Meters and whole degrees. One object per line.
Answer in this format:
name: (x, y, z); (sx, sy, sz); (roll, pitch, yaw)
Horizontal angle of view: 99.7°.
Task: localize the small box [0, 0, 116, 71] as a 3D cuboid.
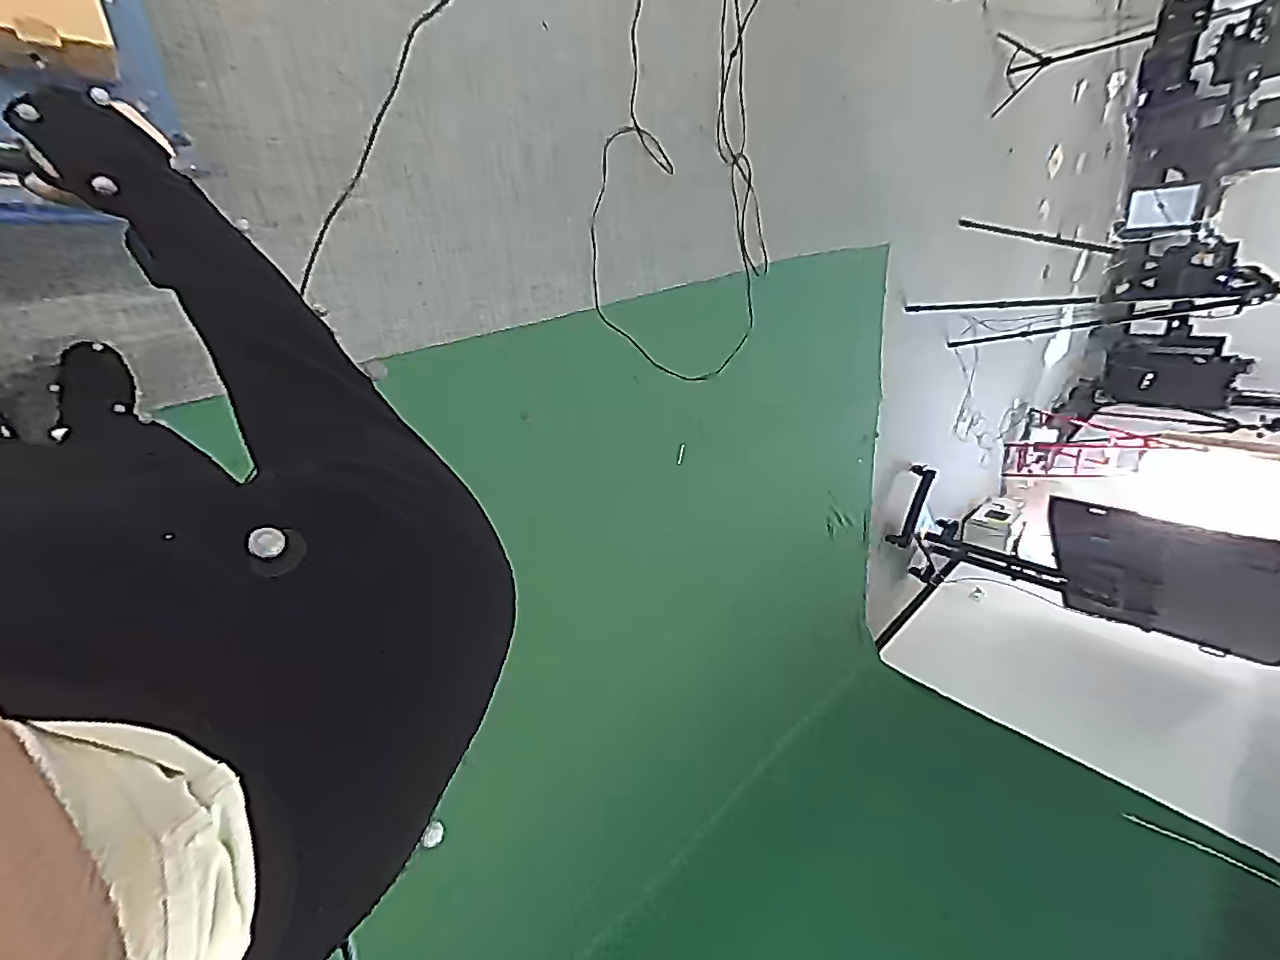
small box: (-0.914, -0.743, 0.796); (0.168, 0.176, 0.179); (-20, 118, -37)
